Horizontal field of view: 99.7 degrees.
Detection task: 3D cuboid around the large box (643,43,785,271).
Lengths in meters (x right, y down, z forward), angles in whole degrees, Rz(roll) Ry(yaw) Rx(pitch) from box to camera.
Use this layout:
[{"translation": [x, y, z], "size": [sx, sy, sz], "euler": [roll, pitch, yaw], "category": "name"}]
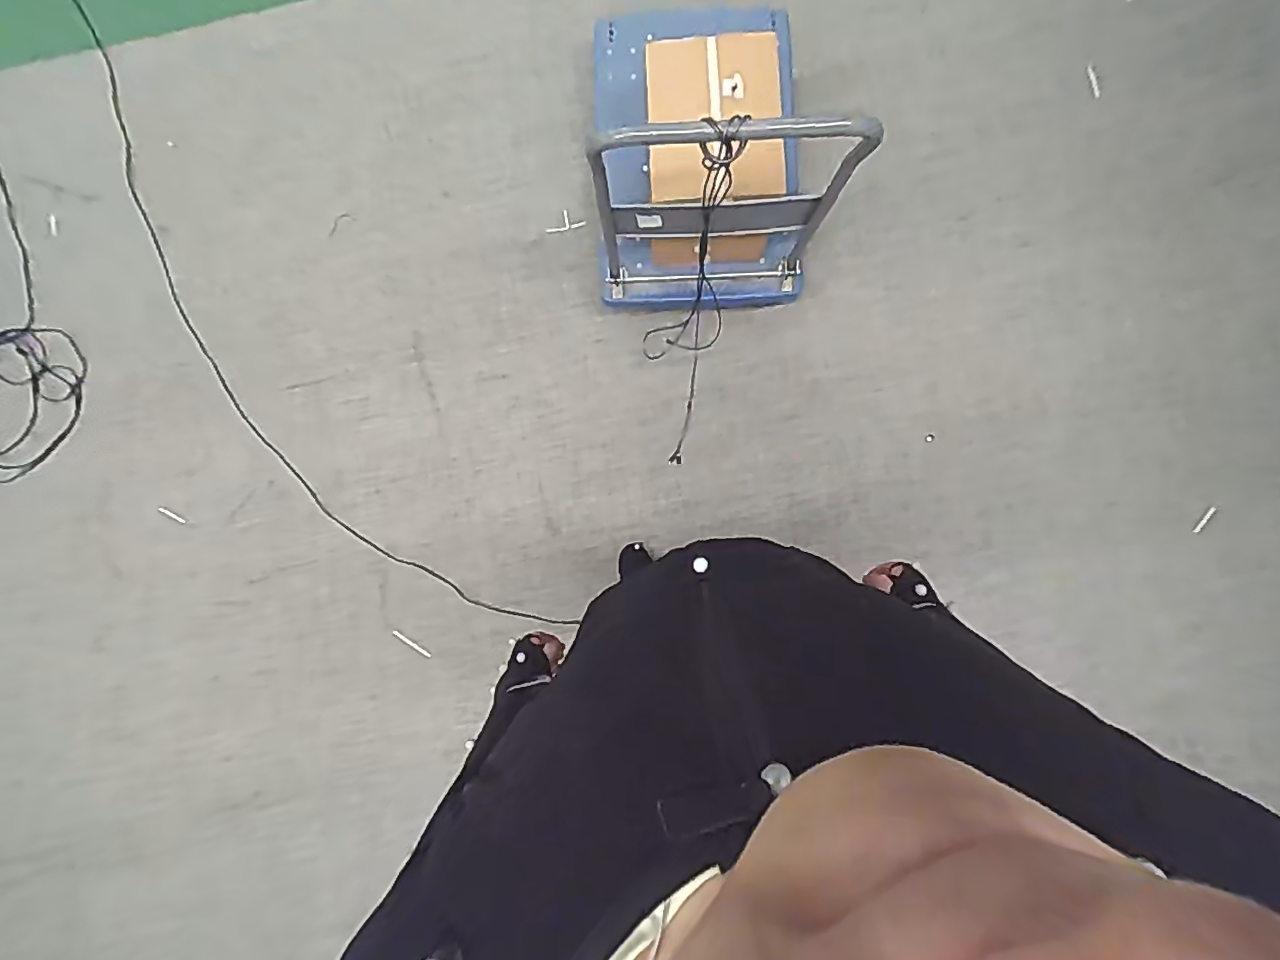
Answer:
[{"translation": [0.178, -0.811, 1.407], "size": [0.320, 0.320, 0.408], "euler": [-2, 84, 2], "category": "large box"}]
